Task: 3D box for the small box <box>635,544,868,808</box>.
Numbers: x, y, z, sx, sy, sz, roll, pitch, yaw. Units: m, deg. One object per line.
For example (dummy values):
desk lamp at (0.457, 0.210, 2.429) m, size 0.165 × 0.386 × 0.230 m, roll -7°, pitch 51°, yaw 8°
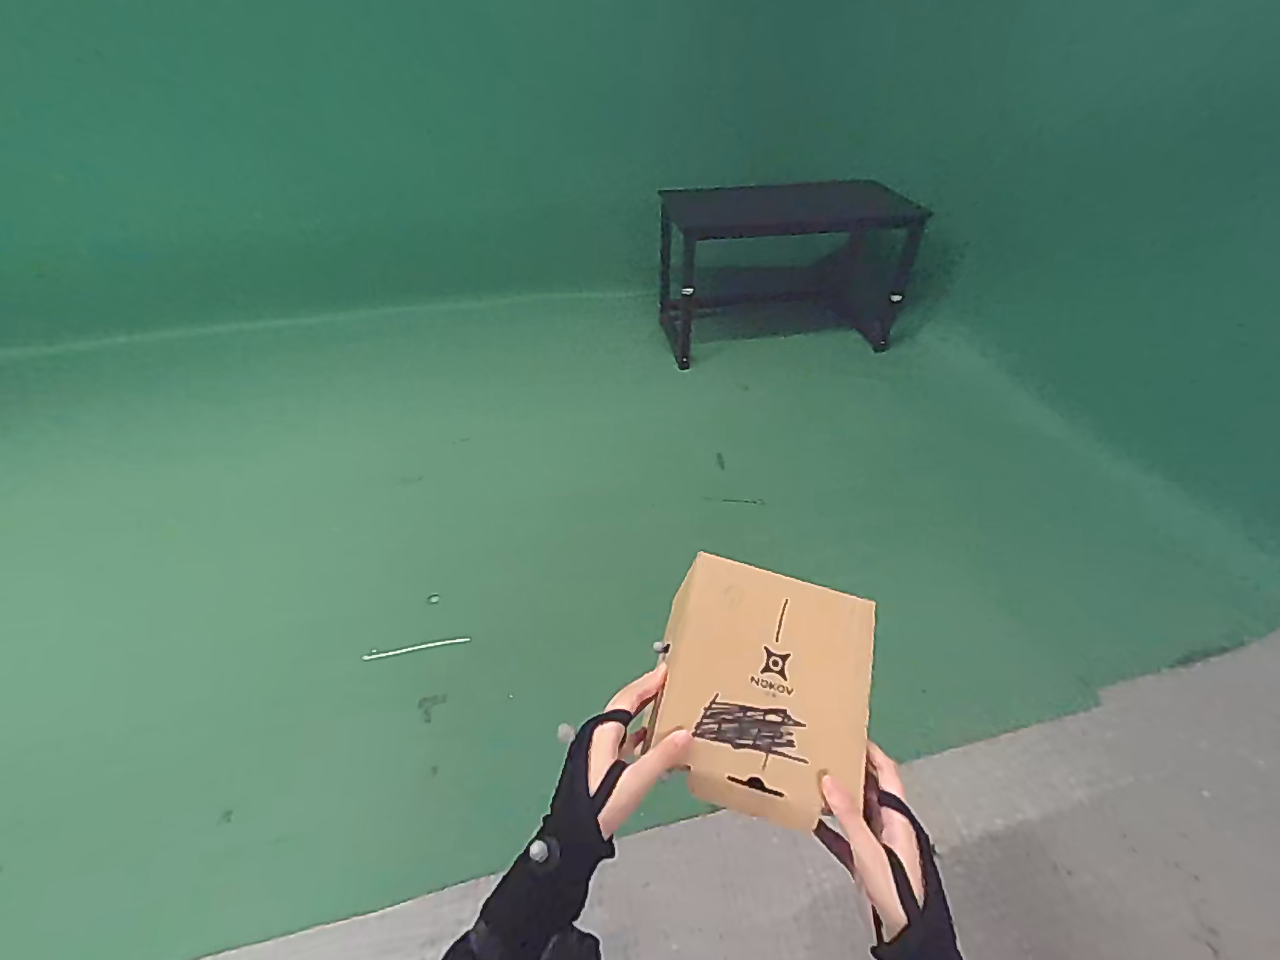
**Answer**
small box at (0.097, 0.190, 0.524) m, size 0.168 × 0.176 × 0.179 m, roll 17°, pitch 62°, yaw 2°
